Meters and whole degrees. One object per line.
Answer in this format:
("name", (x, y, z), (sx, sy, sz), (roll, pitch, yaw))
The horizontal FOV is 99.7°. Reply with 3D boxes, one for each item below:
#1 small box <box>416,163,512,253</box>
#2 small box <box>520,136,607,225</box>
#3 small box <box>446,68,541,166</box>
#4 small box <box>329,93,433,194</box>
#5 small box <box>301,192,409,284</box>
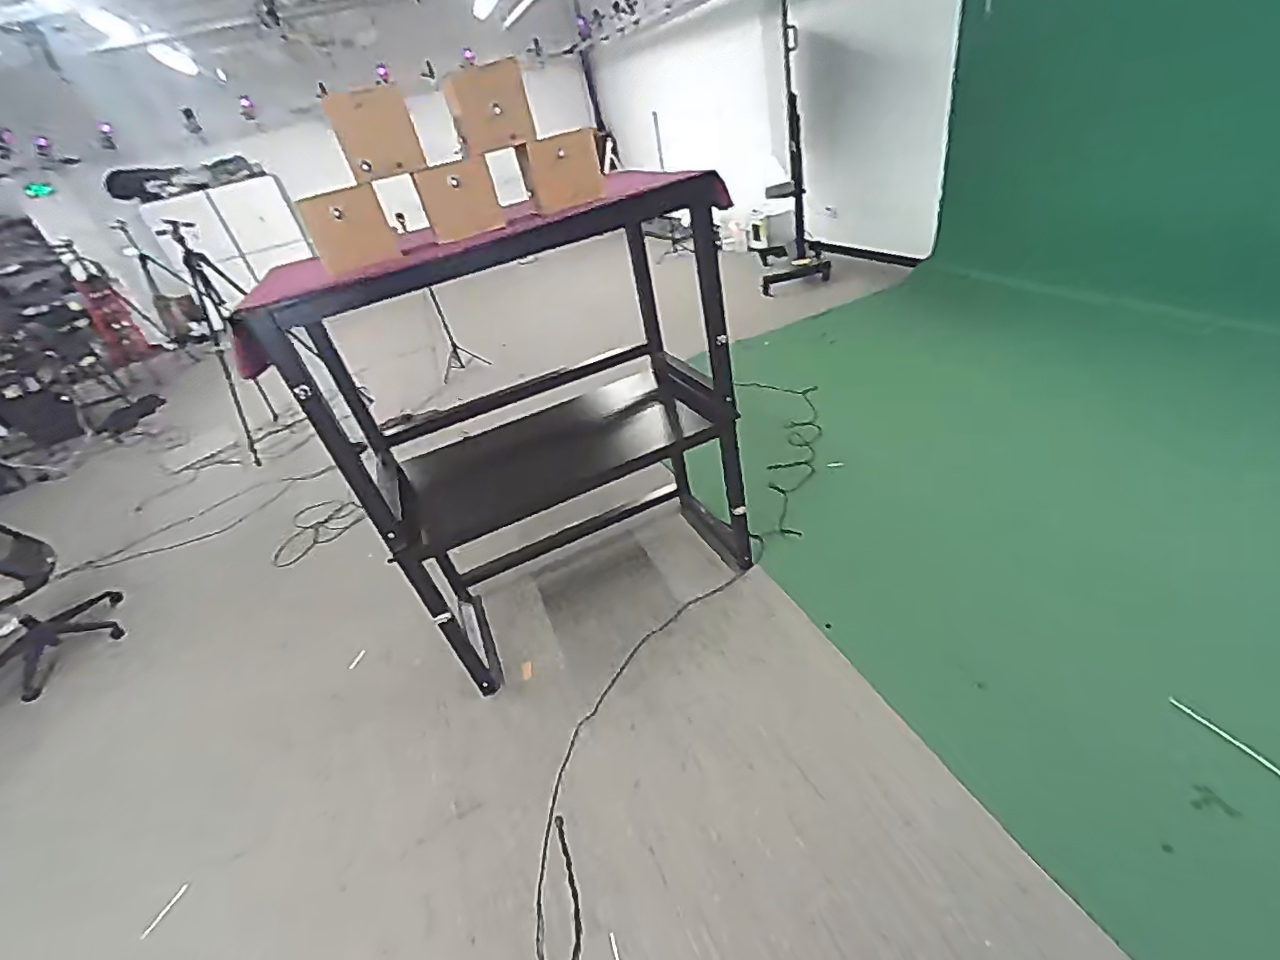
("small box", (-0.450, -0.693, 1.382), (0.179, 0.176, 0.168), (-23, 34, -13))
("small box", (-0.201, -0.801, 1.446), (0.179, 0.176, 0.168), (-24, 34, -12))
("small box", (-0.359, -0.886, 1.335), (0.168, 0.176, 0.179), (-23, 35, -13))
("small box", (-0.602, -0.785, 1.276), (0.168, 0.176, 0.179), (-21, 33, -12))
("small box", (-0.695, -0.596, 1.330), (0.179, 0.176, 0.168), (-24, 36, -14))
